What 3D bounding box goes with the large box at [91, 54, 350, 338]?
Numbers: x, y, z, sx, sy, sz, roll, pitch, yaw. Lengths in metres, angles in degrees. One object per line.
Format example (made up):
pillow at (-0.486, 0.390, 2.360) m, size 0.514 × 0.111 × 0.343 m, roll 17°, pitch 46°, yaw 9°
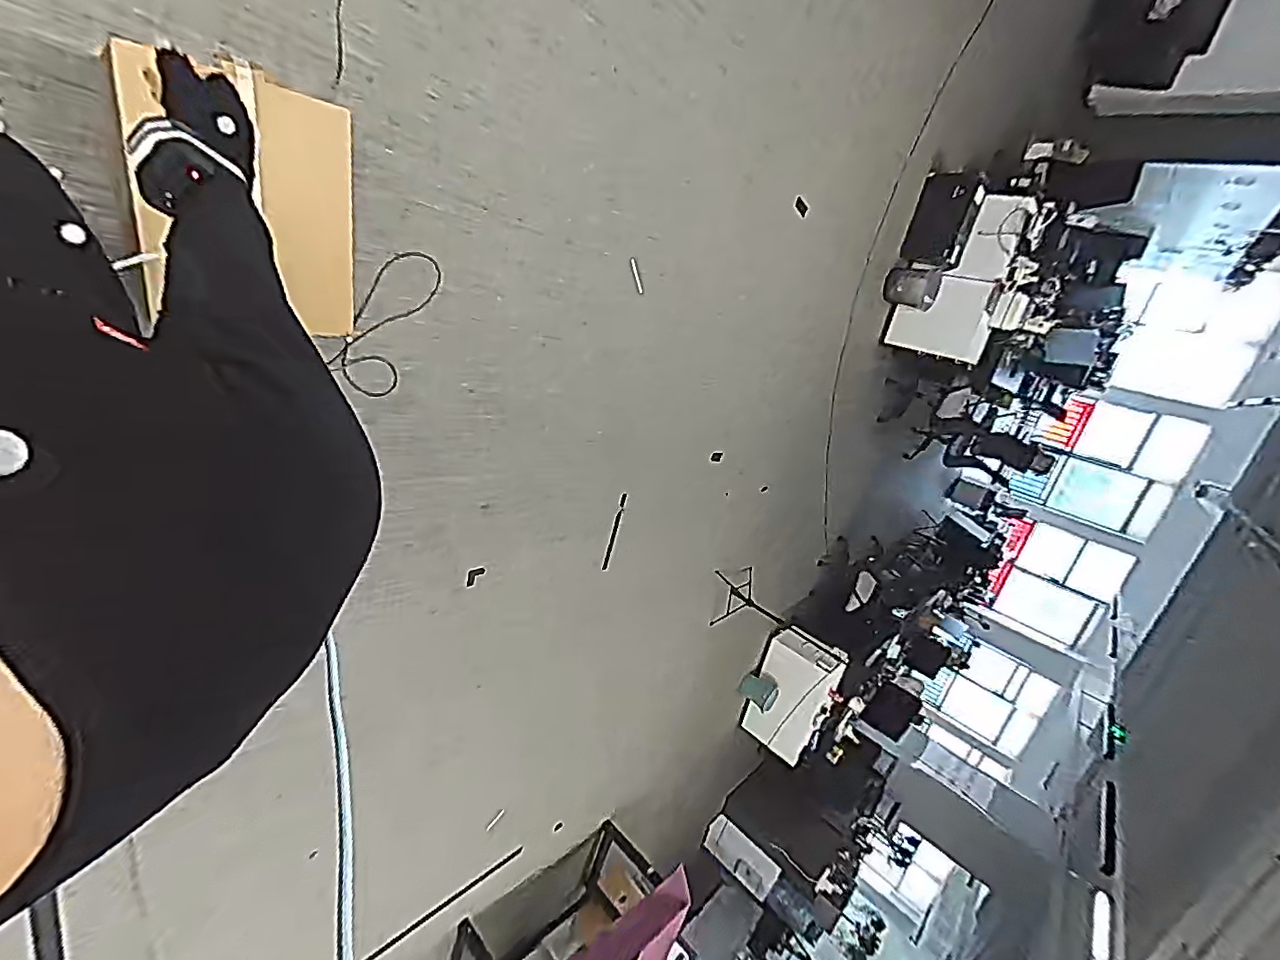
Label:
large box at (-0.780, -0.511, 1.031) m, size 0.320 × 0.320 × 0.408 m, roll -12°, pitch 122°, yaw -44°
